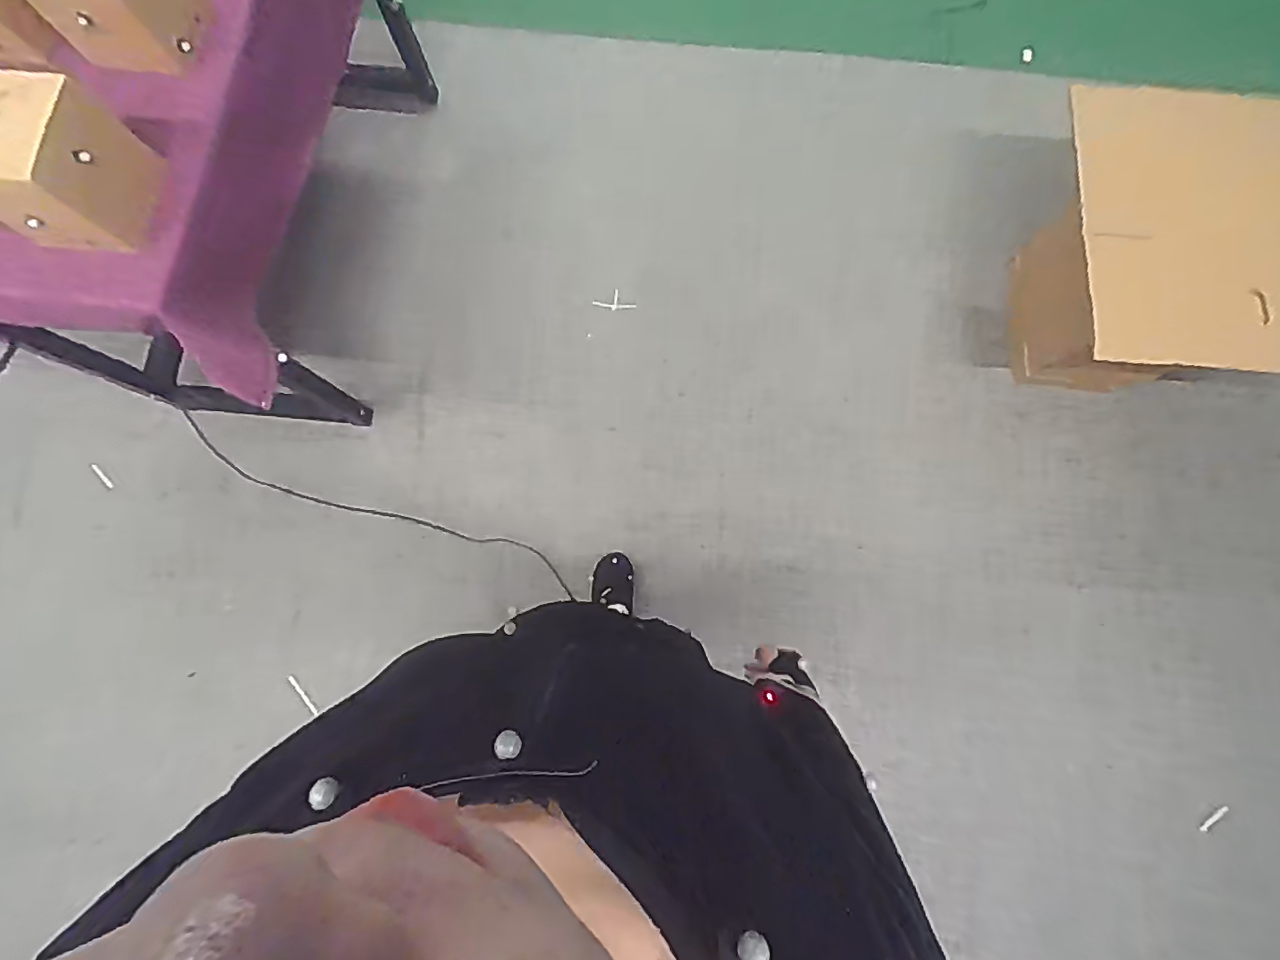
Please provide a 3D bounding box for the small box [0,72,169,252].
[{"bbox_3d":[-0.884,-0.477,0.830,0.168,0.176,0.179,6,79,1],"label":"small box"}]

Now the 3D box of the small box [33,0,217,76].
[{"bbox_3d":[-0.860,-0.816,0.897,0.179,0.176,0.168,7,79,3],"label":"small box"}]

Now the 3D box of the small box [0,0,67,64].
[{"bbox_3d":[-1.108,-0.848,0.906,0.168,0.176,0.179,9,78,1],"label":"small box"}]
